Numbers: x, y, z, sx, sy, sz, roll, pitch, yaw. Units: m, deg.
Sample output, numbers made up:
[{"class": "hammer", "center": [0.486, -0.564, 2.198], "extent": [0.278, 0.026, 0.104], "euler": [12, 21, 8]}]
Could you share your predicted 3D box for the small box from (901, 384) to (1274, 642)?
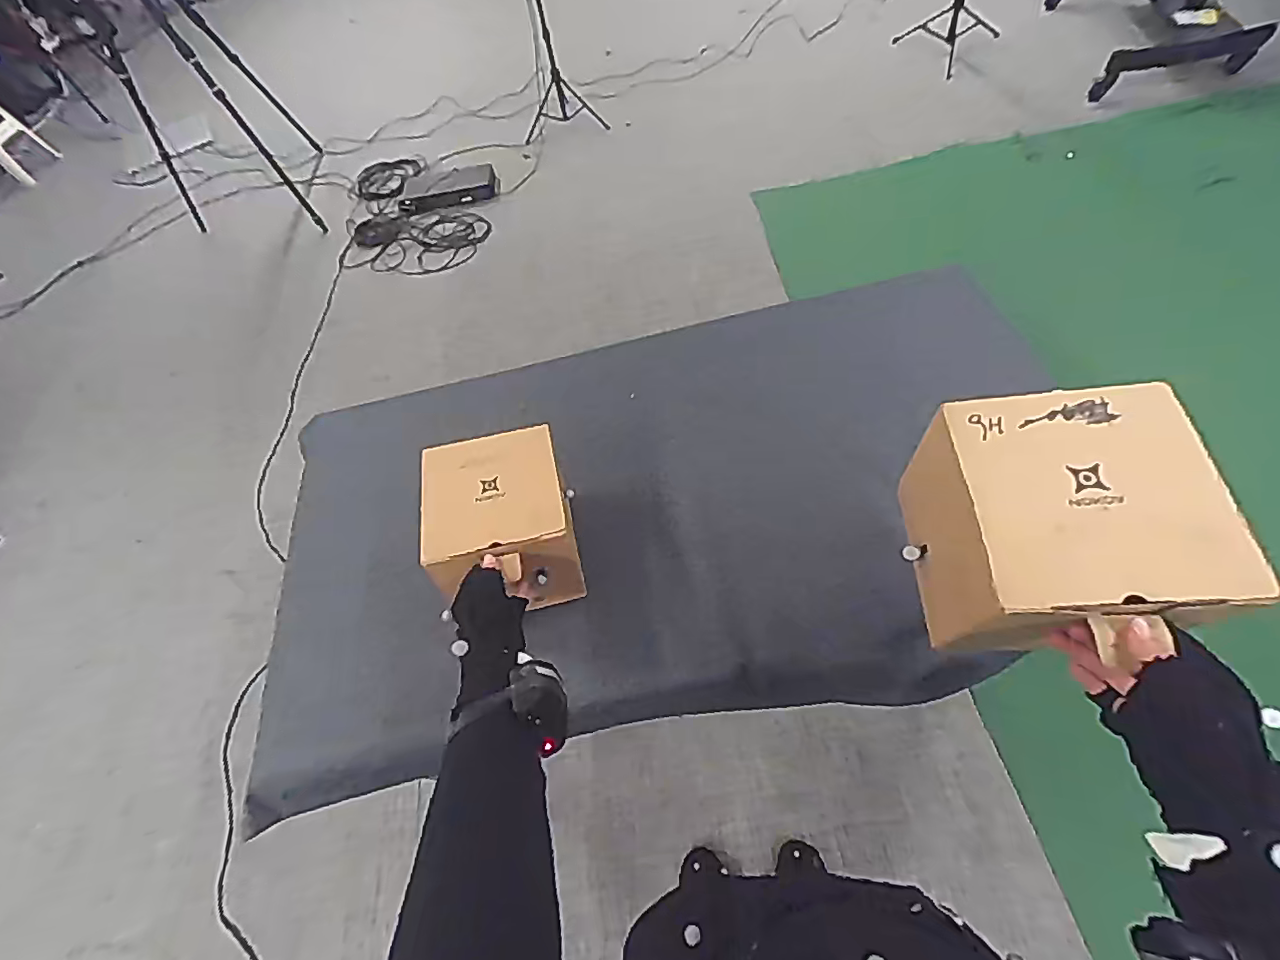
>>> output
[{"class": "small box", "center": [0.344, 0.042, 0.466], "extent": [0.168, 0.176, 0.179], "euler": [-4, 65, 10]}]

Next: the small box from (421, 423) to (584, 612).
[{"class": "small box", "center": [-0.175, 0.056, 0.712], "extent": [0.168, 0.176, 0.179], "euler": [-12, 51, -7]}]
